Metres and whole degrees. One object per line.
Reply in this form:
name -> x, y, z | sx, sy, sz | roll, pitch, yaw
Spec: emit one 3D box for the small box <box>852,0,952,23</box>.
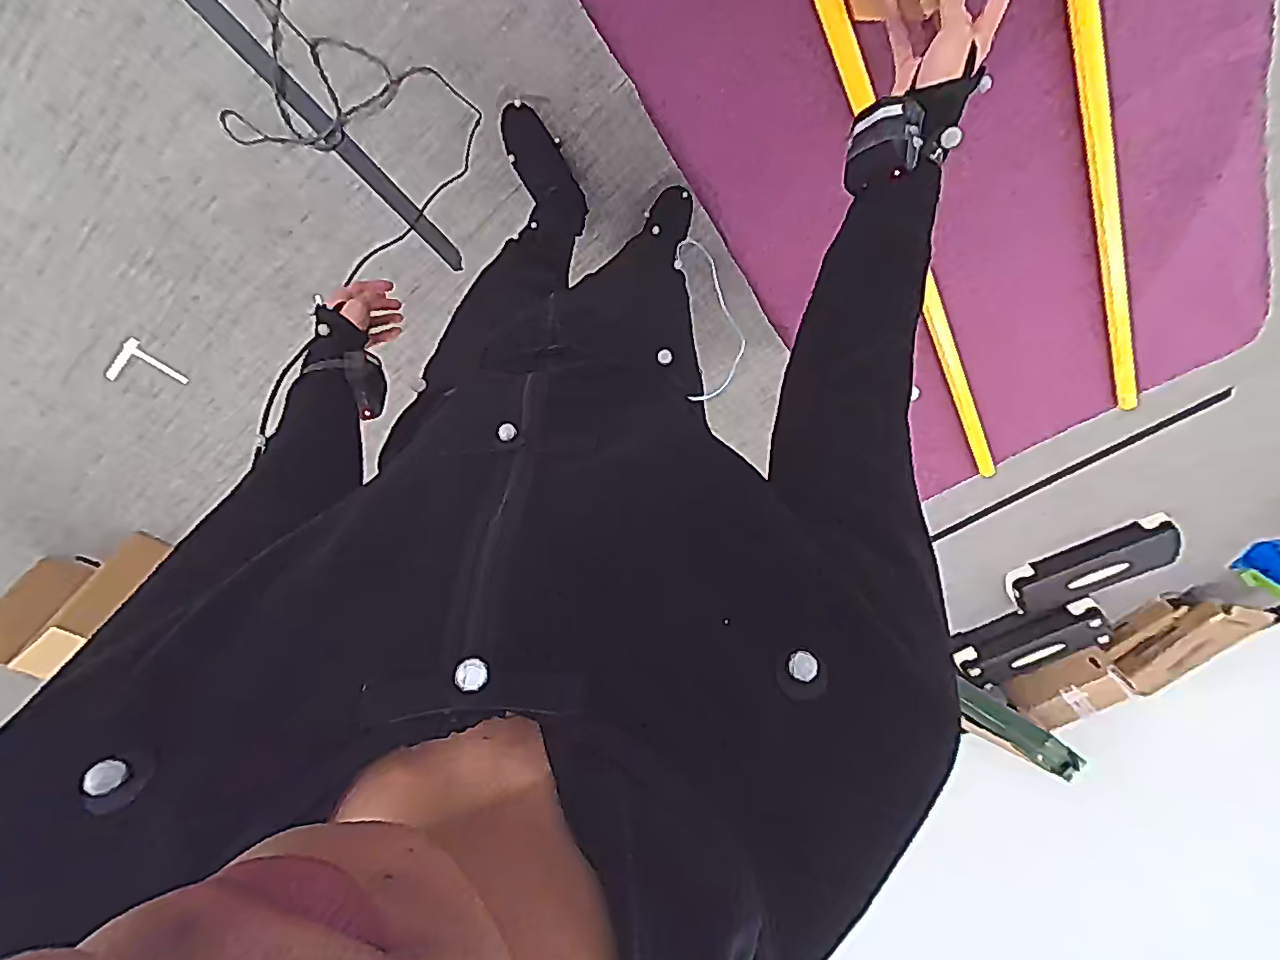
small box -> 0.248, -0.531, 0.444 | 0.168, 0.176, 0.179 | -32, 127, 20
